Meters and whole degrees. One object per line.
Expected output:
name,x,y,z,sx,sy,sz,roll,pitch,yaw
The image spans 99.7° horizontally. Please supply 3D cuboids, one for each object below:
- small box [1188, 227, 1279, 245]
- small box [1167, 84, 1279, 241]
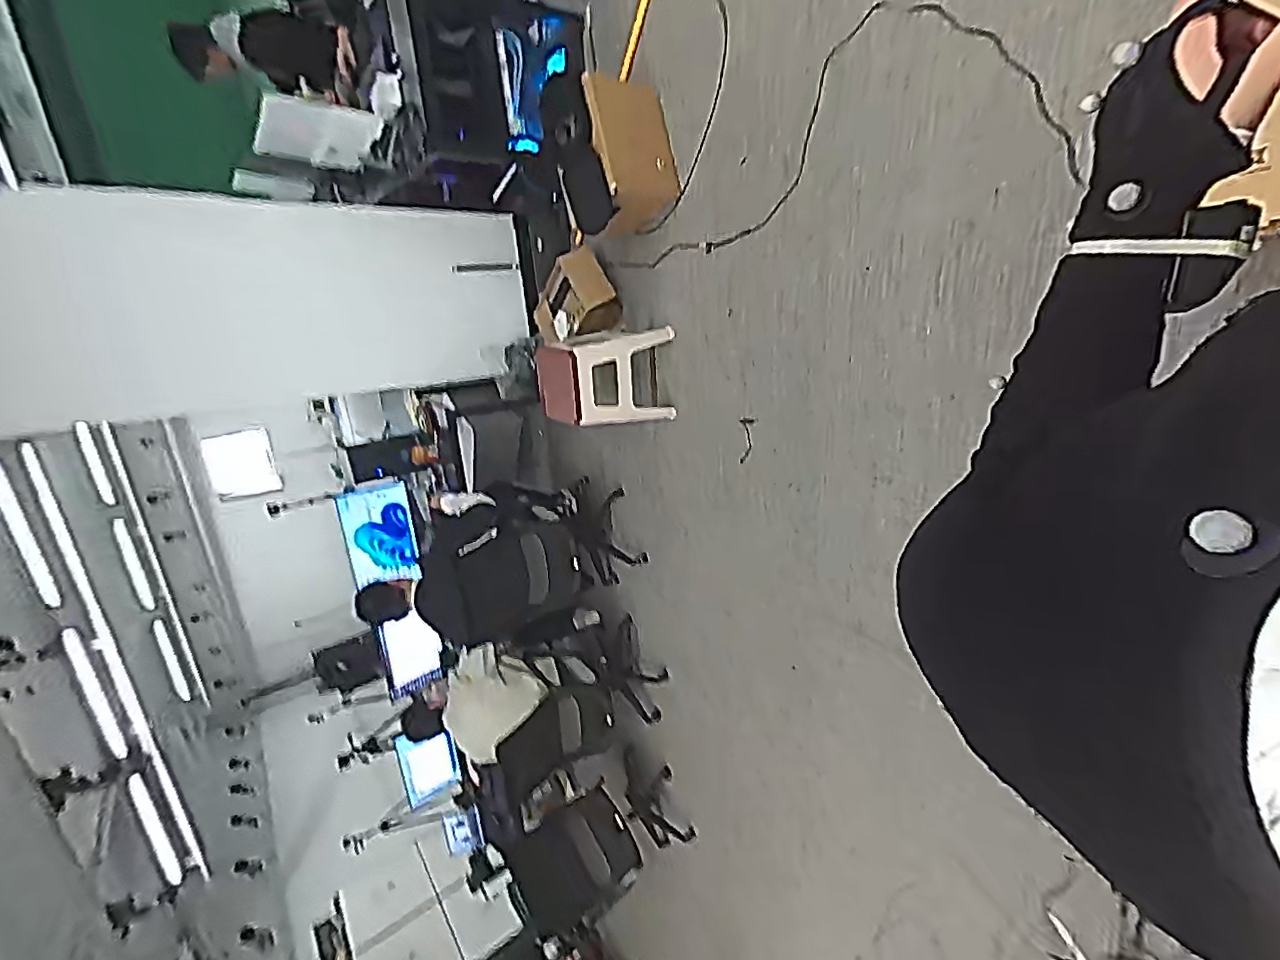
small box,1.041,-0.493,0.885,0.168,0.176,0.179,14,115,51
small box,0.911,-0.461,0.793,0.168,0.176,0.179,8,109,52
